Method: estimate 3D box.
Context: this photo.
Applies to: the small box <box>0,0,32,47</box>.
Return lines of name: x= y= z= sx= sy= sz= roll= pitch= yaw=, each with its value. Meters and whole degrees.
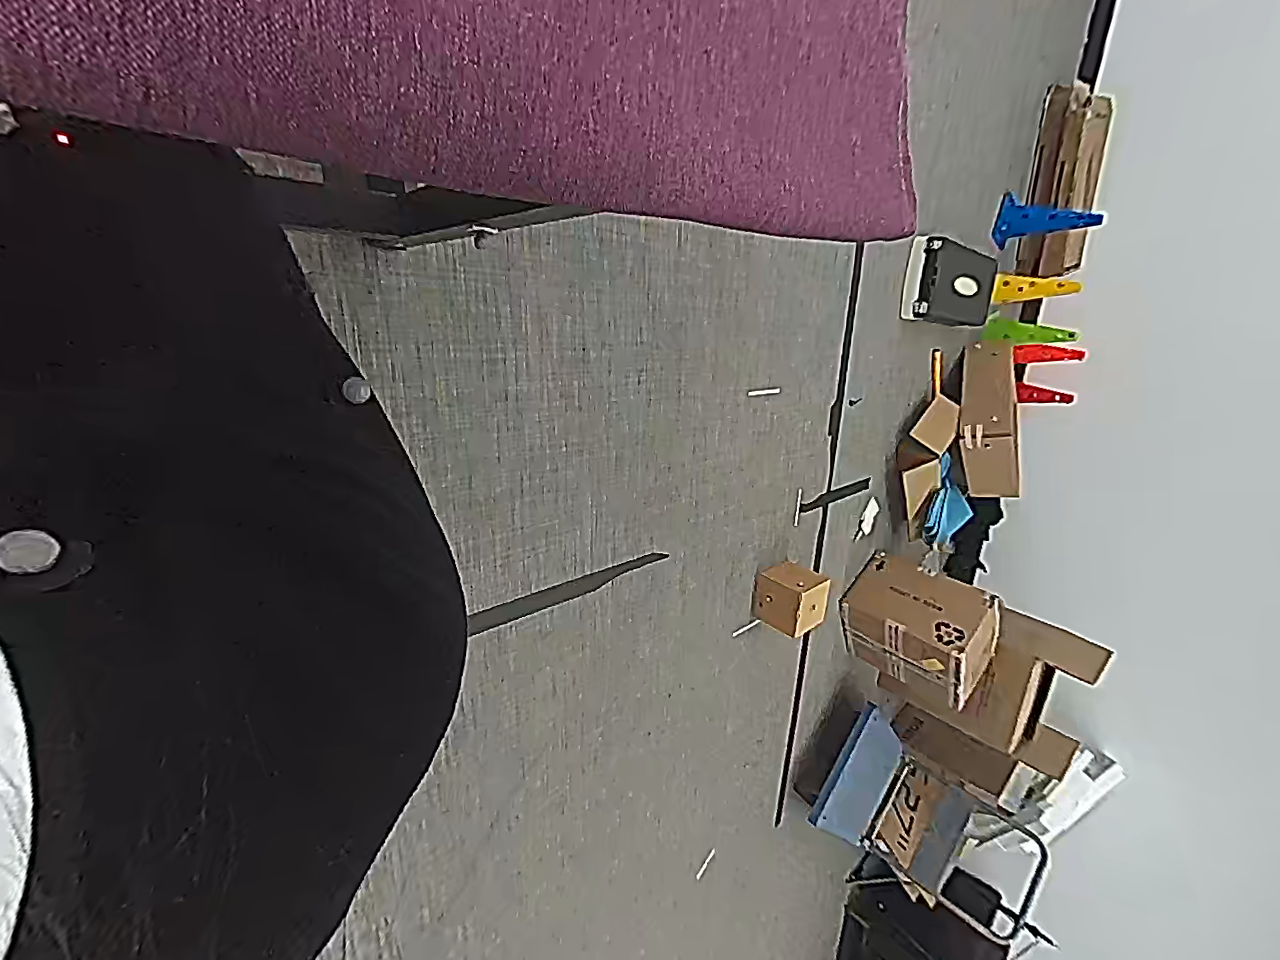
small box: x=-0.545 y=-0.426 z=0.349 sx=0.168 sy=0.176 sz=0.179 roll=-15 pitch=117 yaw=-39

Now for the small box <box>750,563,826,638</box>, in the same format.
small box: x=0.494 y=0.396 z=1.814 sx=0.179 sy=0.176 sz=0.168 roll=-13 pitch=114 yaw=-40
